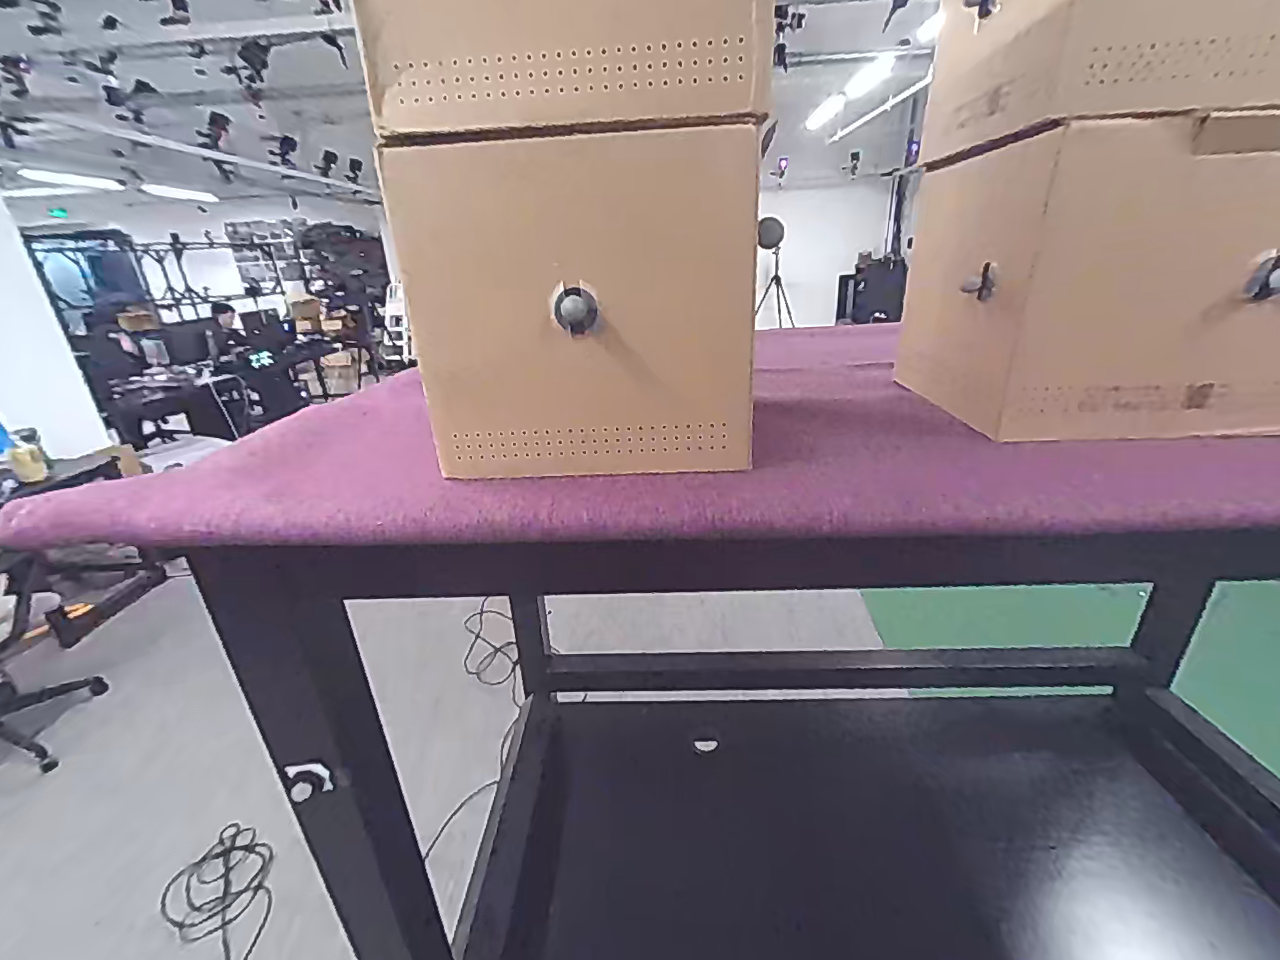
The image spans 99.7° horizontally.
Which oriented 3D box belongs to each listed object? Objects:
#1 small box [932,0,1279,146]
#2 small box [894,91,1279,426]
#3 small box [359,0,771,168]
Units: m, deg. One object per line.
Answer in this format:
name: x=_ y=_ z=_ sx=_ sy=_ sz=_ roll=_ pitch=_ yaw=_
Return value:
small box: x=0.285 y=-0.289 z=0.298 sx=0.179 sy=0.176 sz=0.168 roll=0 pitch=24 yaw=4
small box: x=0.291 y=-0.136 z=0.361 sx=0.168 sy=0.176 sz=0.179 roll=0 pitch=22 yaw=3
small box: x=-0.034 y=-0.265 z=0.273 sx=0.179 sy=0.176 sz=0.168 roll=-3 pitch=23 yaw=2
